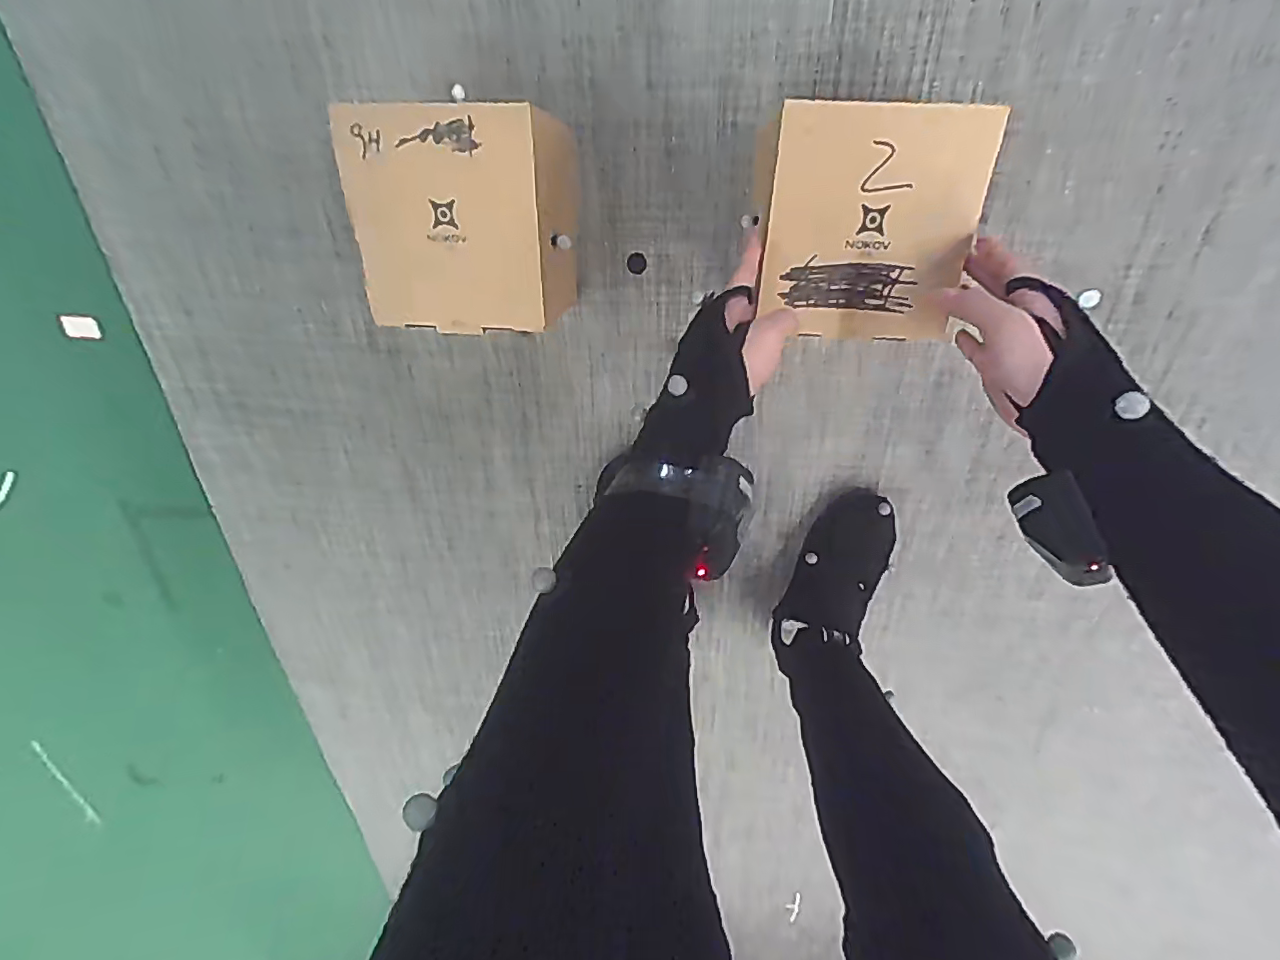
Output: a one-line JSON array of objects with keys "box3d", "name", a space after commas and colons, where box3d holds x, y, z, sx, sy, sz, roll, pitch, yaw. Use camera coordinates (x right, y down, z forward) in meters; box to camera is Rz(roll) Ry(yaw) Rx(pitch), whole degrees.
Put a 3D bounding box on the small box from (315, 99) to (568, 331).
[{"box3d": [-0.168, -0.255, 0.527, 0.168, 0.176, 0.179, 3, 119, 3], "name": "small box"}]
